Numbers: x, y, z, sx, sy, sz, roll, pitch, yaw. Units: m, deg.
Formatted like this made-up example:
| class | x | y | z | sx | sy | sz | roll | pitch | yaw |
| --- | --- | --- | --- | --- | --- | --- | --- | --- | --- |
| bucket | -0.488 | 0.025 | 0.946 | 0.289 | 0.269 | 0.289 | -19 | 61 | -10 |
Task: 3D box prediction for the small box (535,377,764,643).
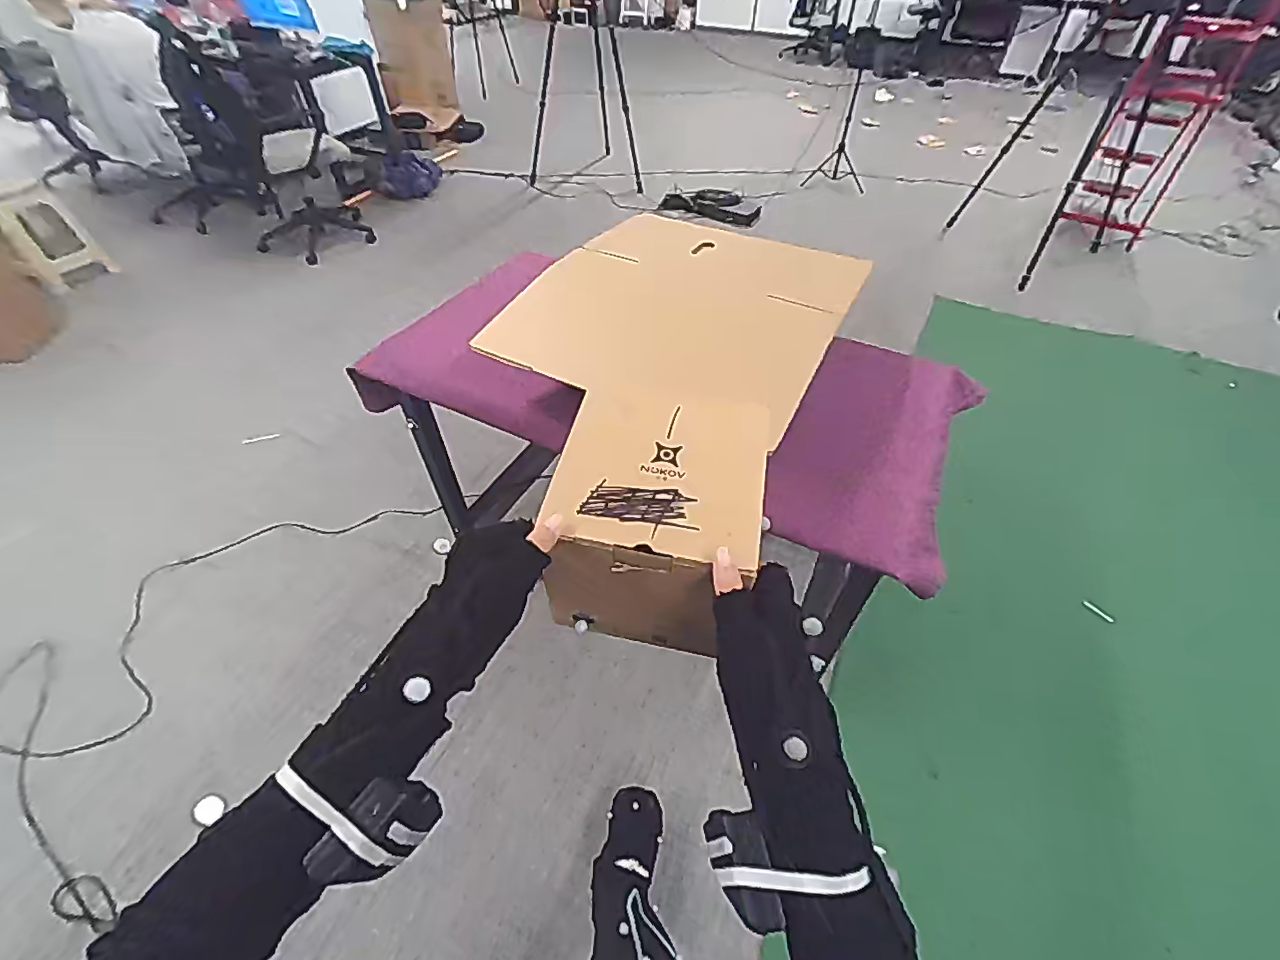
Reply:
| class | x | y | z | sx | sy | sz | roll | pitch | yaw |
| --- | --- | --- | --- | --- | --- | --- | --- | --- | --- |
| small box | 0.015 | 0.032 | 0.510 | 0.168 | 0.176 | 0.179 | 10 | 52 | 5 |
